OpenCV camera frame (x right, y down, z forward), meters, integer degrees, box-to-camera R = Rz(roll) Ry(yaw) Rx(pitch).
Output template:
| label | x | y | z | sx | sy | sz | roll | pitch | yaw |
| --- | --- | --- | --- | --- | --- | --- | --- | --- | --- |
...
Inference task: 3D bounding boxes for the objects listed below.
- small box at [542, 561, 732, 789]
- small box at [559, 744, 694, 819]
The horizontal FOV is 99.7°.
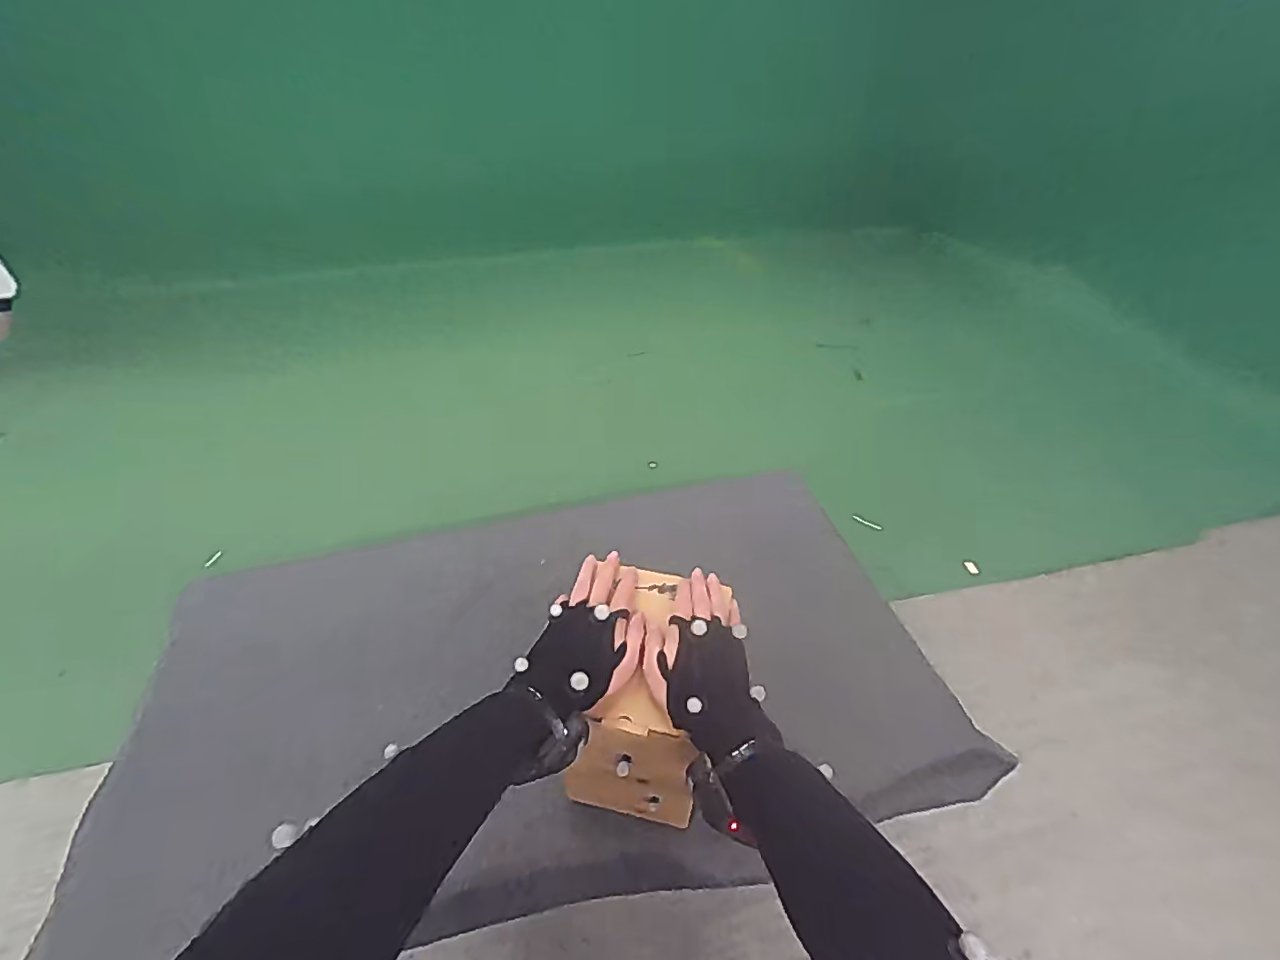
| label | x | y | z | sx | sy | sz | roll | pitch | yaw |
| --- | --- | --- | --- | --- | --- | --- | --- | --- | --- |
| small box | 0.004 | 0.222 | 0.612 | 0.168 | 0.176 | 0.179 | 10 | 47 | 8 |
| small box | 0.001 | 0.330 | 0.734 | 0.168 | 0.176 | 0.179 | 9 | 44 | 8 |
